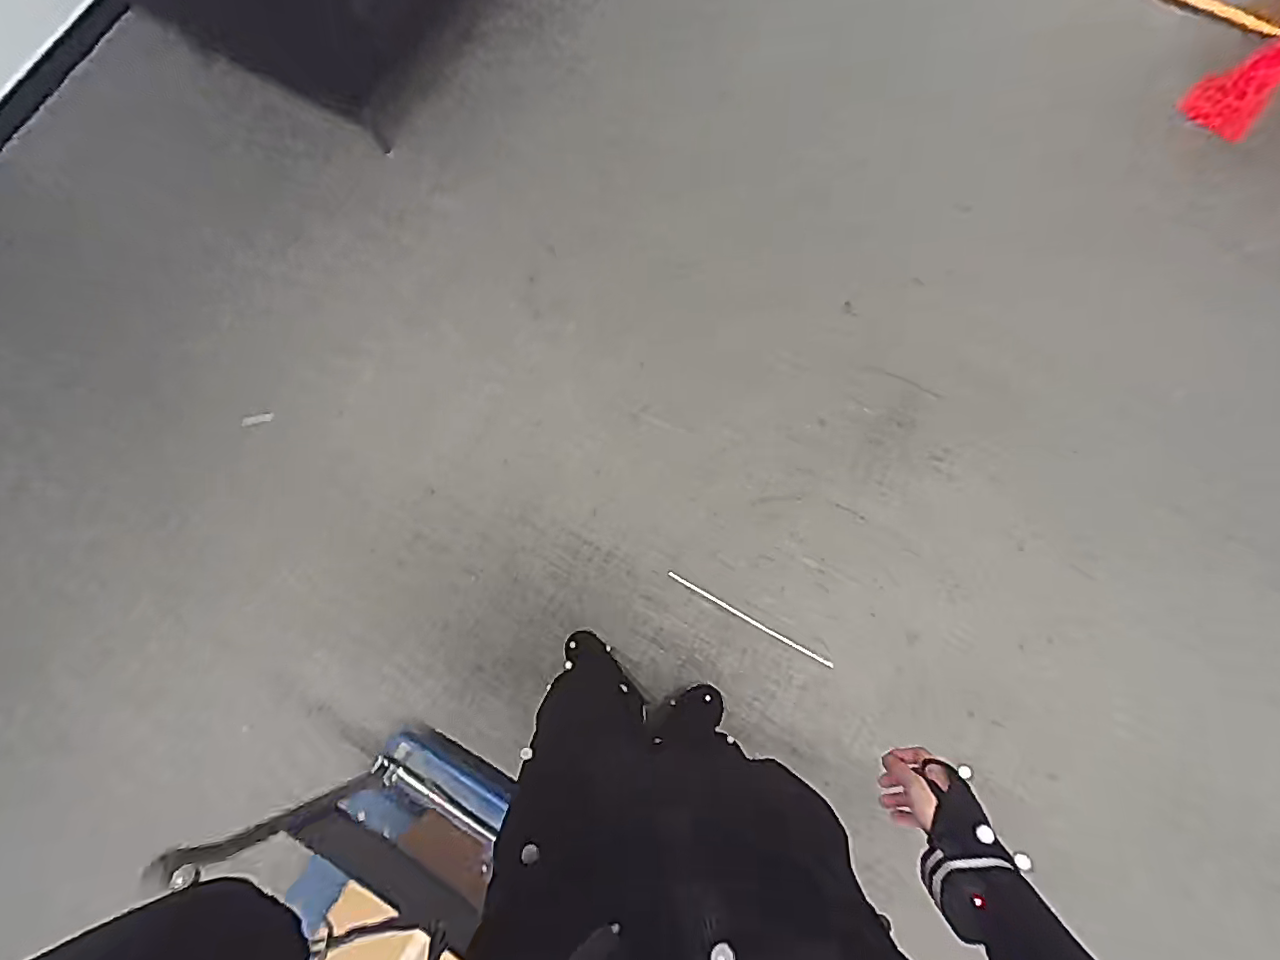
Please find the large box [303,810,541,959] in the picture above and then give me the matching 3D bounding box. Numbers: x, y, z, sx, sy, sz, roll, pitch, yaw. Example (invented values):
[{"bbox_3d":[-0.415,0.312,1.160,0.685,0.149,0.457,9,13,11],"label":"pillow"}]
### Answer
[{"bbox_3d":[-0.441,0.937,1.007,0.320,0.320,0.408,30,80,10],"label":"large box"}]
